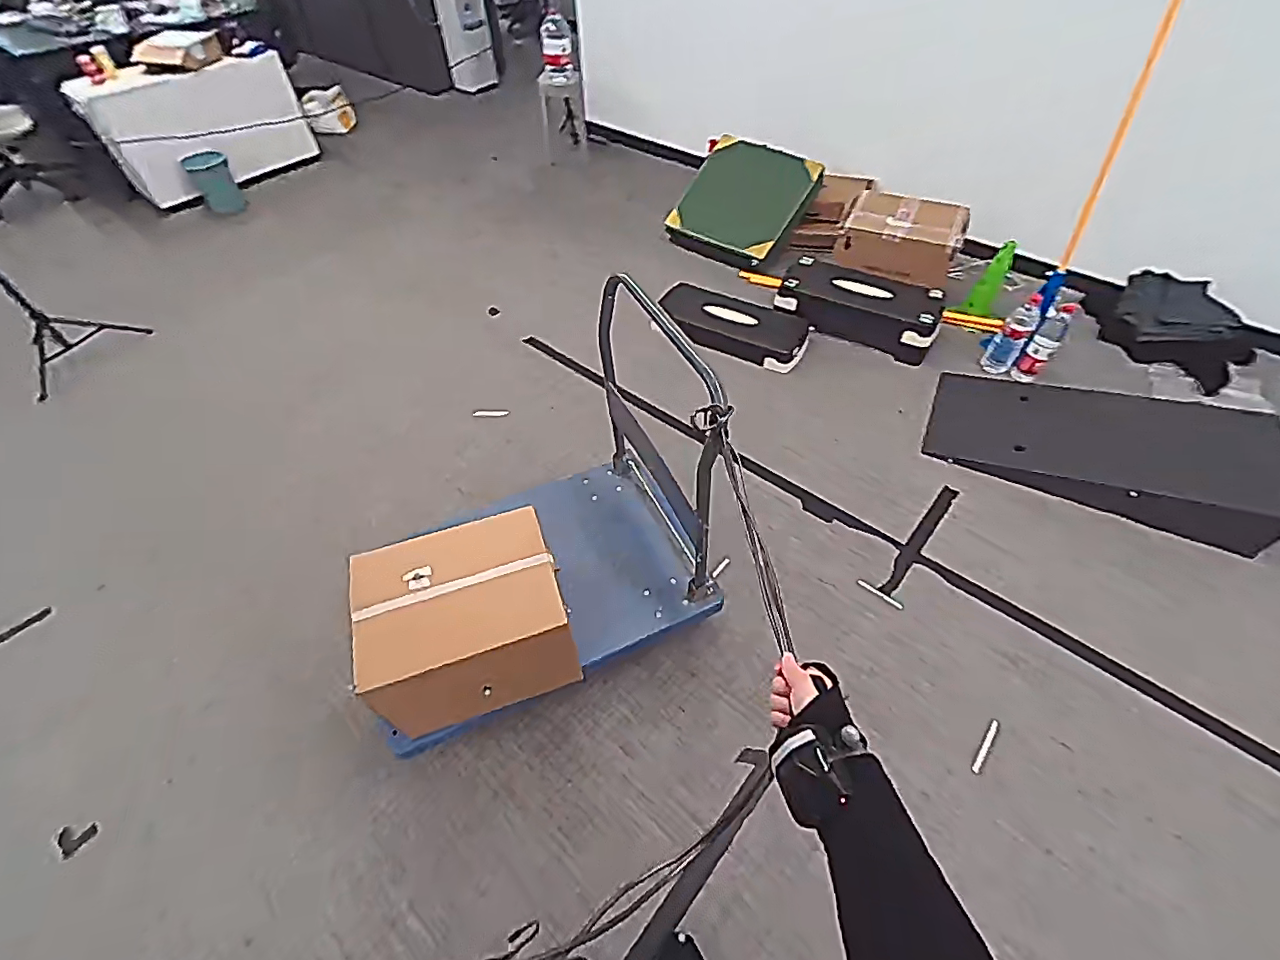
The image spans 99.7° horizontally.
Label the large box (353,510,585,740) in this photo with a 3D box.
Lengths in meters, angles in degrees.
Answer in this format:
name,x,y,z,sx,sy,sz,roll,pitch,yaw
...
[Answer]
name,x,y,z,sx,sy,sz,roll,pitch,yaw
large box,-0.370,0.327,1.217,0.408,0.320,0.320,-17,51,-12
